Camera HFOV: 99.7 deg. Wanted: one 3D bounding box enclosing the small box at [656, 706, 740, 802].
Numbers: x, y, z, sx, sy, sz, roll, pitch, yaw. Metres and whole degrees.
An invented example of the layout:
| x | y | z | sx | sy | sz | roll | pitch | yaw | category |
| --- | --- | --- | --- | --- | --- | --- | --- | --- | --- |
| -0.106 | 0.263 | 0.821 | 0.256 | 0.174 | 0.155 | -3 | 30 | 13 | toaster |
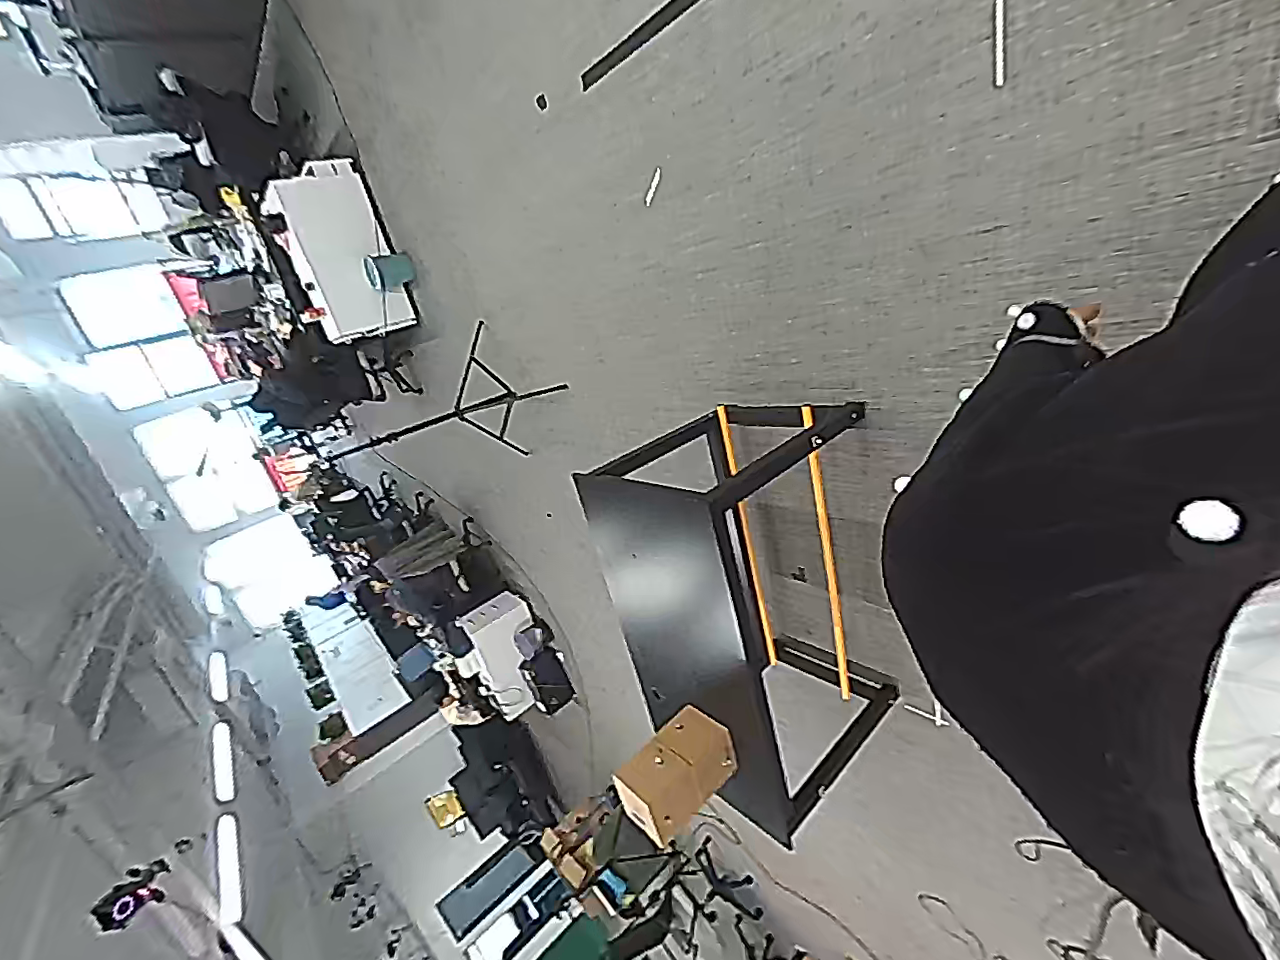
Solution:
| x | y | z | sx | sy | sz | roll | pitch | yaw | category |
| --- | --- | --- | --- | --- | --- | --- | --- | --- | --- |
| 0.182 | 0.839 | 1.678 | 0.179 | 0.176 | 0.168 | 10 | 123 | 50 | small box |

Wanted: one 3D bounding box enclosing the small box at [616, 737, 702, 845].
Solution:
| x | y | z | sx | sy | sz | roll | pitch | yaw | category |
| --- | --- | --- | --- | --- | --- | --- | --- | --- | --- |
| 0.060 | 0.907 | 1.589 | 0.168 | 0.176 | 0.179 | 10 | 122 | 51 | small box |
